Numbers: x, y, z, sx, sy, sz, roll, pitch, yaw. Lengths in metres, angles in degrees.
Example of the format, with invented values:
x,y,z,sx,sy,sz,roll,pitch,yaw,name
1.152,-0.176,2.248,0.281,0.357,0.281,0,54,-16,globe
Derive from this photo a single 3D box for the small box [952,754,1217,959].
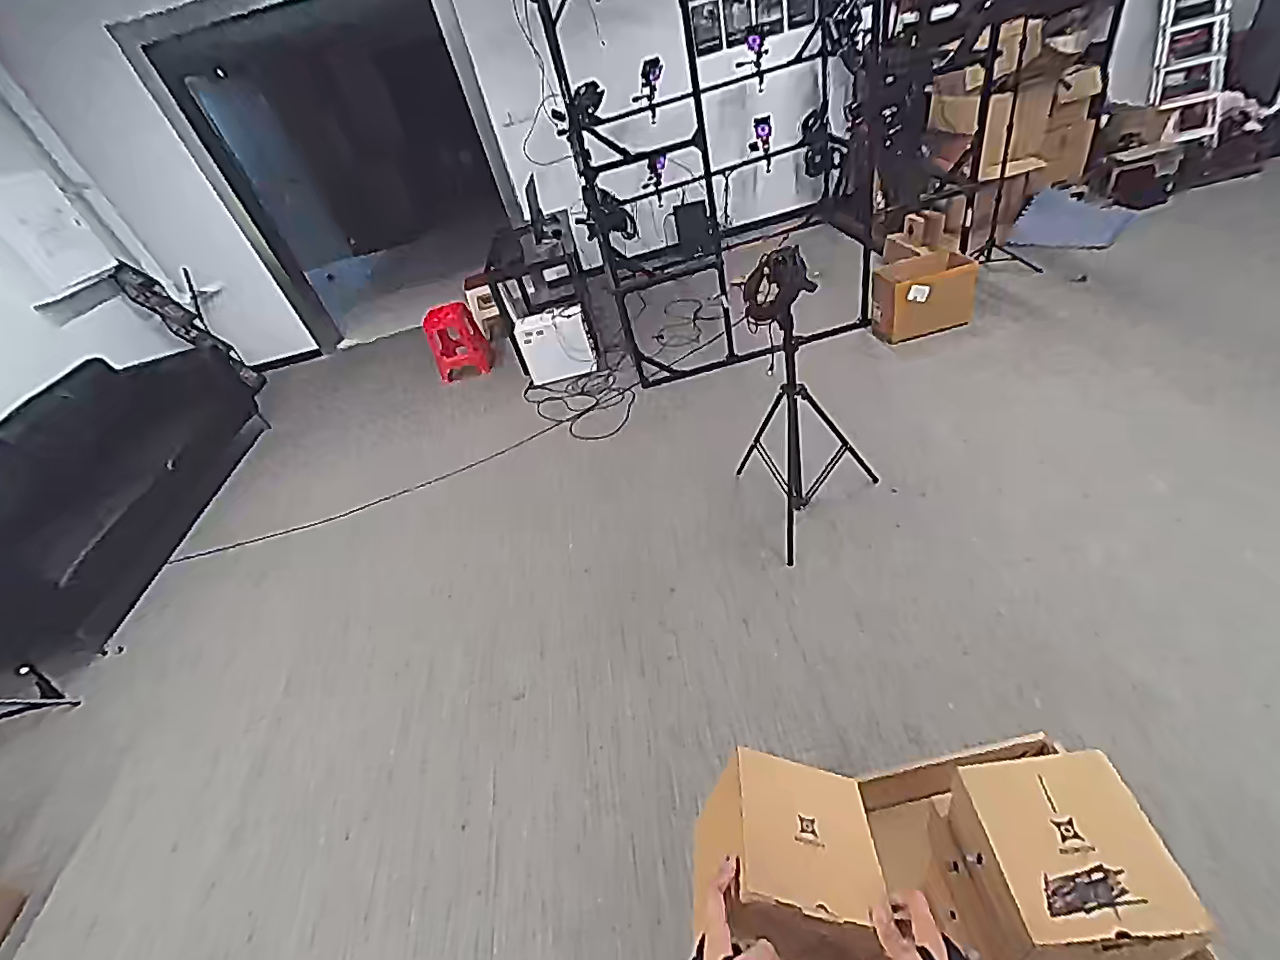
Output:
x,y,z,sx,sy,sz,roll,pitch,yaw,name
0.491,0.454,0.635,0.168,0.176,0.179,-13,38,10,small box

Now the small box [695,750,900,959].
x,y,z,sx,sy,sz,roll,pitch,yaw,name
0.169,0.473,0.649,0.168,0.176,0.179,17,26,-2,small box

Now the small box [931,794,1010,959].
x,y,z,sx,sy,sz,roll,pitch,yaw,name
0.533,0.557,0.762,0.168,0.176,0.179,-17,38,6,small box
